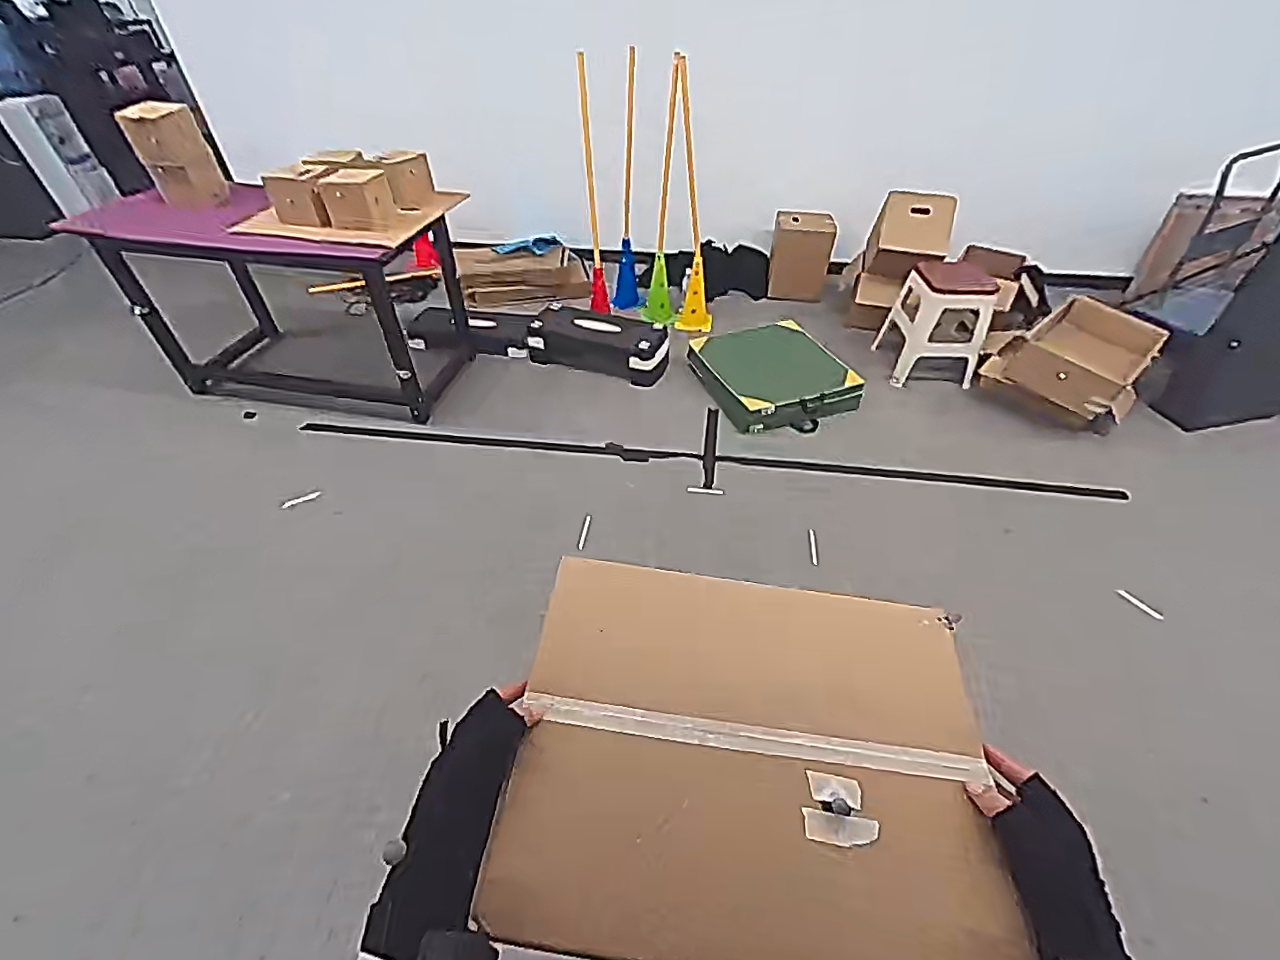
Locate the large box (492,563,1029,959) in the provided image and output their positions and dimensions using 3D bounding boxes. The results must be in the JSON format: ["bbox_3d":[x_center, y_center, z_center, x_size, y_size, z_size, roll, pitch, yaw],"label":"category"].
[{"bbox_3d":[0.089,0.323,0.598,0.408,0.320,0.320,7,50,1],"label":"large box"}]
